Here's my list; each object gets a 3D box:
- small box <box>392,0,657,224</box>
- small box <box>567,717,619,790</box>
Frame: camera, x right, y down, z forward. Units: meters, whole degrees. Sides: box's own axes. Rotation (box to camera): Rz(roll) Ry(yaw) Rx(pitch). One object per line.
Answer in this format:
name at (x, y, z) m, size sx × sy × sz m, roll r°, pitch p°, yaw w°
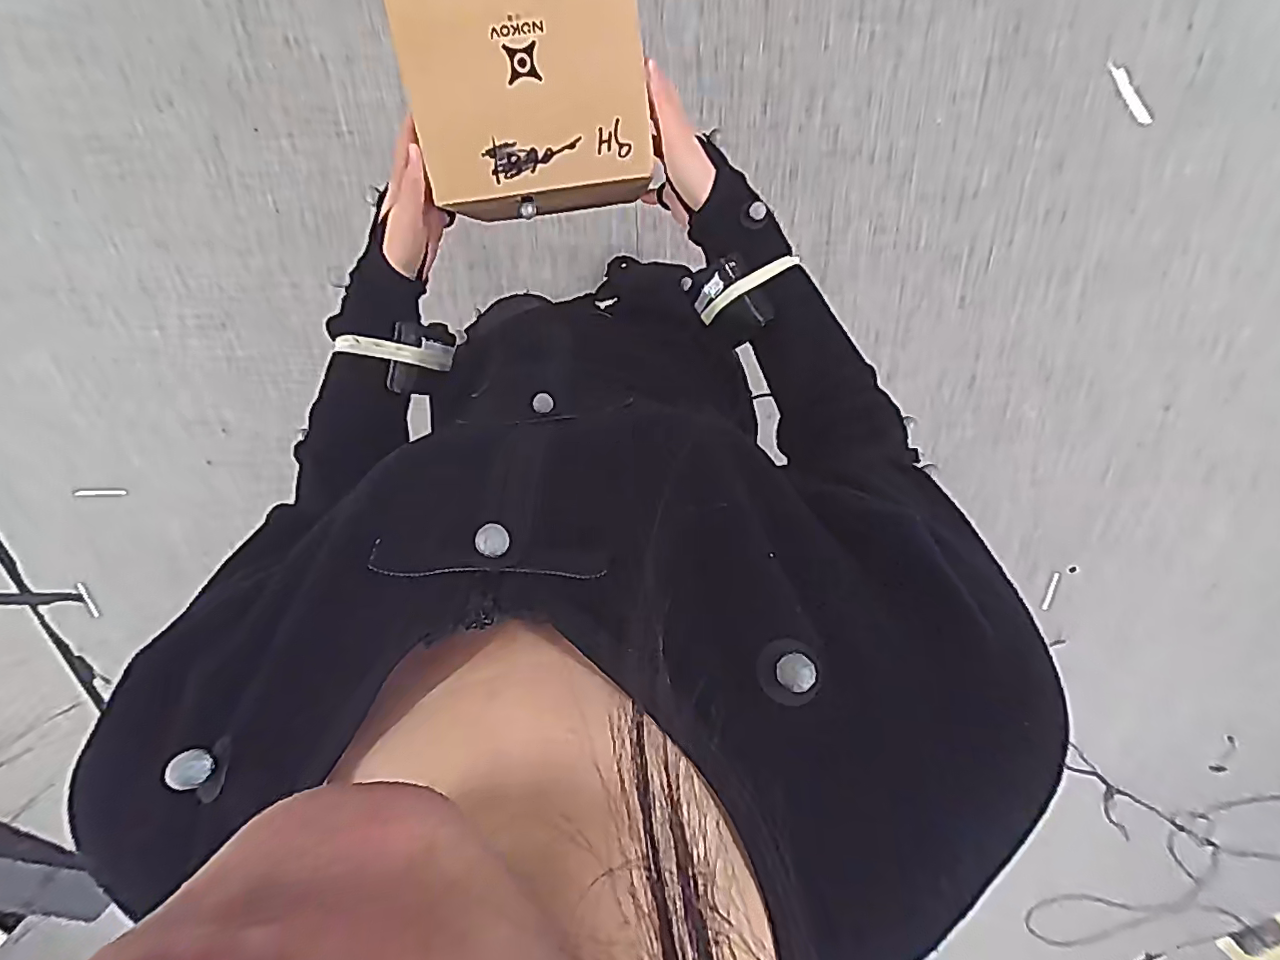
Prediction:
small box at (-0.084, -0.318, 0.439) m, size 0.168 × 0.176 × 0.179 m, roll -8°, pitch 112°, yaw -2°
small box at (-0.163, 0.986, 1.950) m, size 0.168 × 0.176 × 0.179 m, roll -2°, pitch 114°, yaw 2°
